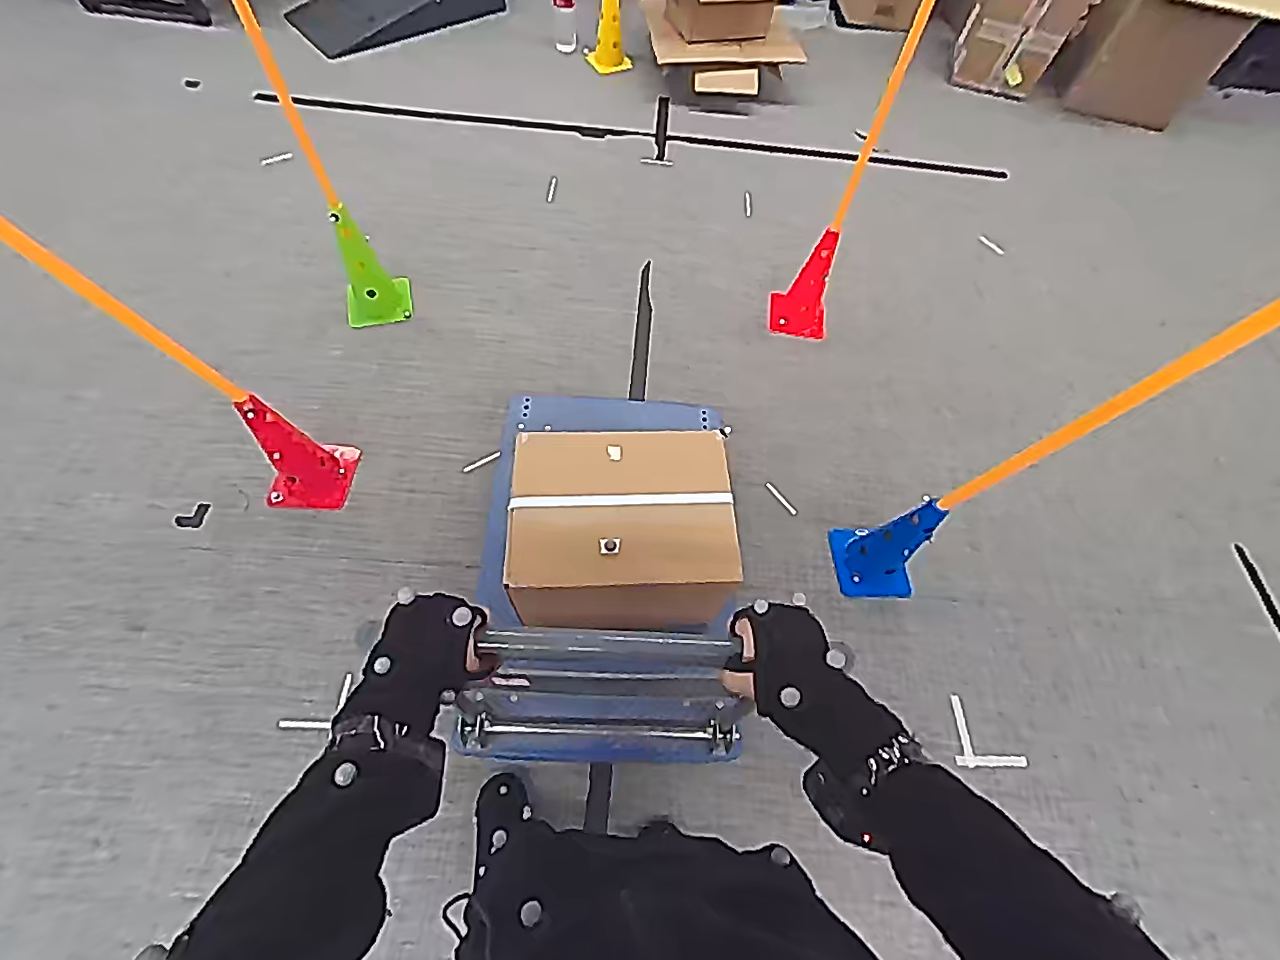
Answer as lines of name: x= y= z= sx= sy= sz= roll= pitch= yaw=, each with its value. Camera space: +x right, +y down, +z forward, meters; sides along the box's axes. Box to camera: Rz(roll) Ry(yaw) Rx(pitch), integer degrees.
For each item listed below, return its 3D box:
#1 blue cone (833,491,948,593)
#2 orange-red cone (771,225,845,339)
blue cone: x=0.652 y=0.140 z=1.351 sx=0.193 sy=0.380 sz=0.192 roll=2 pitch=60 yaw=-4
orange-red cone: x=0.582 y=-0.667 z=1.768 sx=0.199 sy=0.360 sz=0.198 roll=11 pitch=62 yaw=0
